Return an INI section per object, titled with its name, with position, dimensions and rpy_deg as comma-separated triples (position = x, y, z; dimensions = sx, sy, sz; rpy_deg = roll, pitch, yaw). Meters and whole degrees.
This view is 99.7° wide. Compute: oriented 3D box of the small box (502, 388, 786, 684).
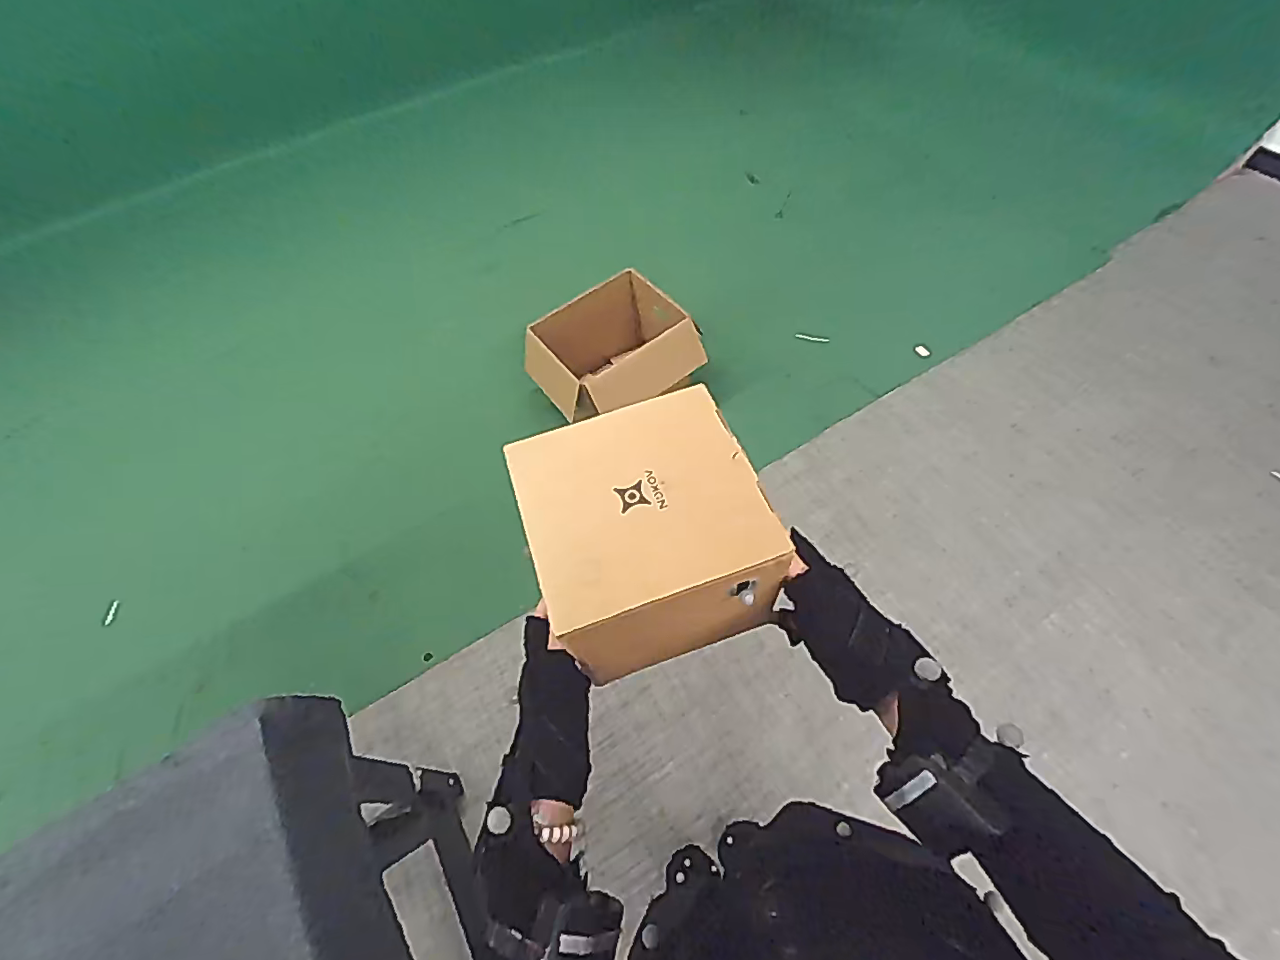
[small box]
position = 0.002, 0.056, 0.466
dimensions = 0.179, 0.176, 0.168
rpy_deg = -19, 58, -7
